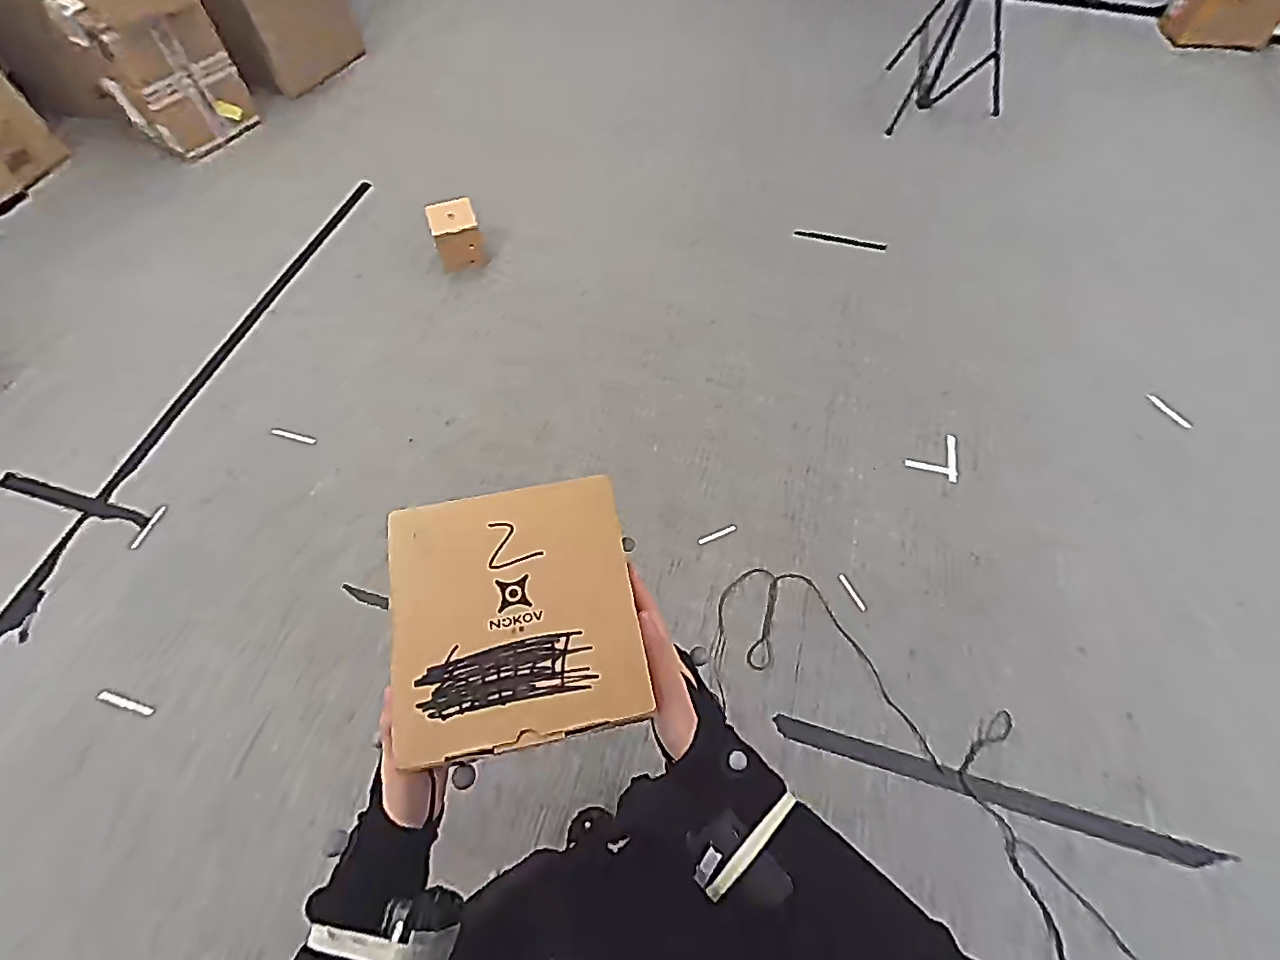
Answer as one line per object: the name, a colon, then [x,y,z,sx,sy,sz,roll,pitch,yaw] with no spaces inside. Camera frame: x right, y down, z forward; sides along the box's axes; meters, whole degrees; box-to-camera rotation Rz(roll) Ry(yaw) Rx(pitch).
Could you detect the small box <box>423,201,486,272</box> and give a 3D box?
small box: [-0.696,-0.912,2.042,0.168,0.176,0.179,-19,62,-12]
